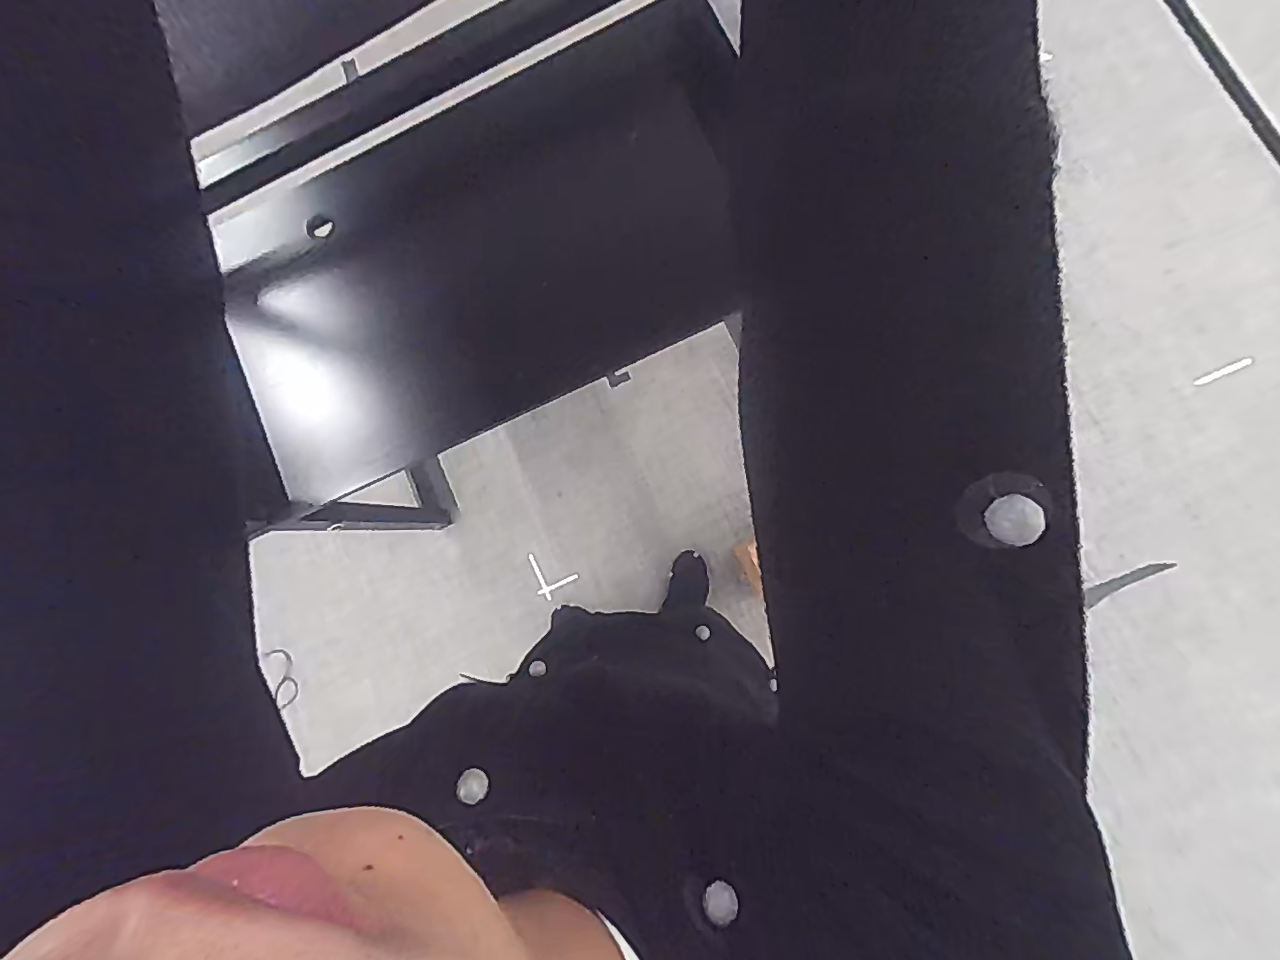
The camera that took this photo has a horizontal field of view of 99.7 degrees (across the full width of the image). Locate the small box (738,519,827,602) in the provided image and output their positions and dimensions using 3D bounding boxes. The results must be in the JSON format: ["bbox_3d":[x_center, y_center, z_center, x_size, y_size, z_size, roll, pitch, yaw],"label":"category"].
[{"bbox_3d":[0.384,0.215,1.493,0.179,0.176,0.168,-26,82,5],"label":"small box"}]
